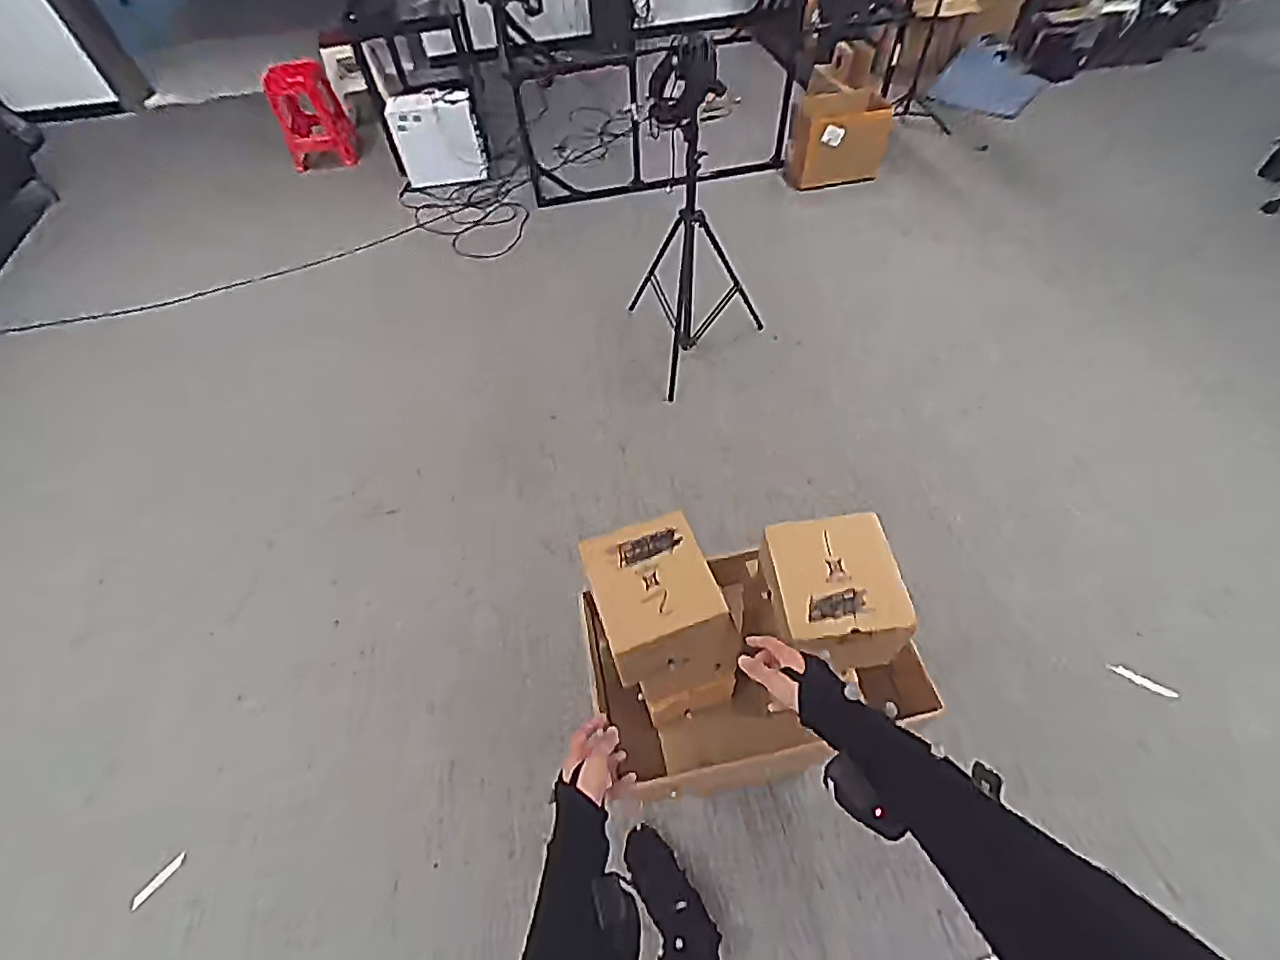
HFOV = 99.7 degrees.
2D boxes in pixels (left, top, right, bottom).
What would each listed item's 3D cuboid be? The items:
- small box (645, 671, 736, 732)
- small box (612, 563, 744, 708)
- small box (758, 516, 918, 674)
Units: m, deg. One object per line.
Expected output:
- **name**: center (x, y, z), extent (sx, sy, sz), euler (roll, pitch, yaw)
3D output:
- **small box**: center (0.074, 0.374, 1.080), extent (0.168, 0.176, 0.179), euler (-18, 56, -9)
- **small box**: center (0.060, 0.275, 0.951), extent (0.179, 0.176, 0.168), euler (-18, 55, -9)
- **small box**: center (0.276, 0.178, 0.800), extent (0.168, 0.176, 0.179), euler (-8, 55, 2)
